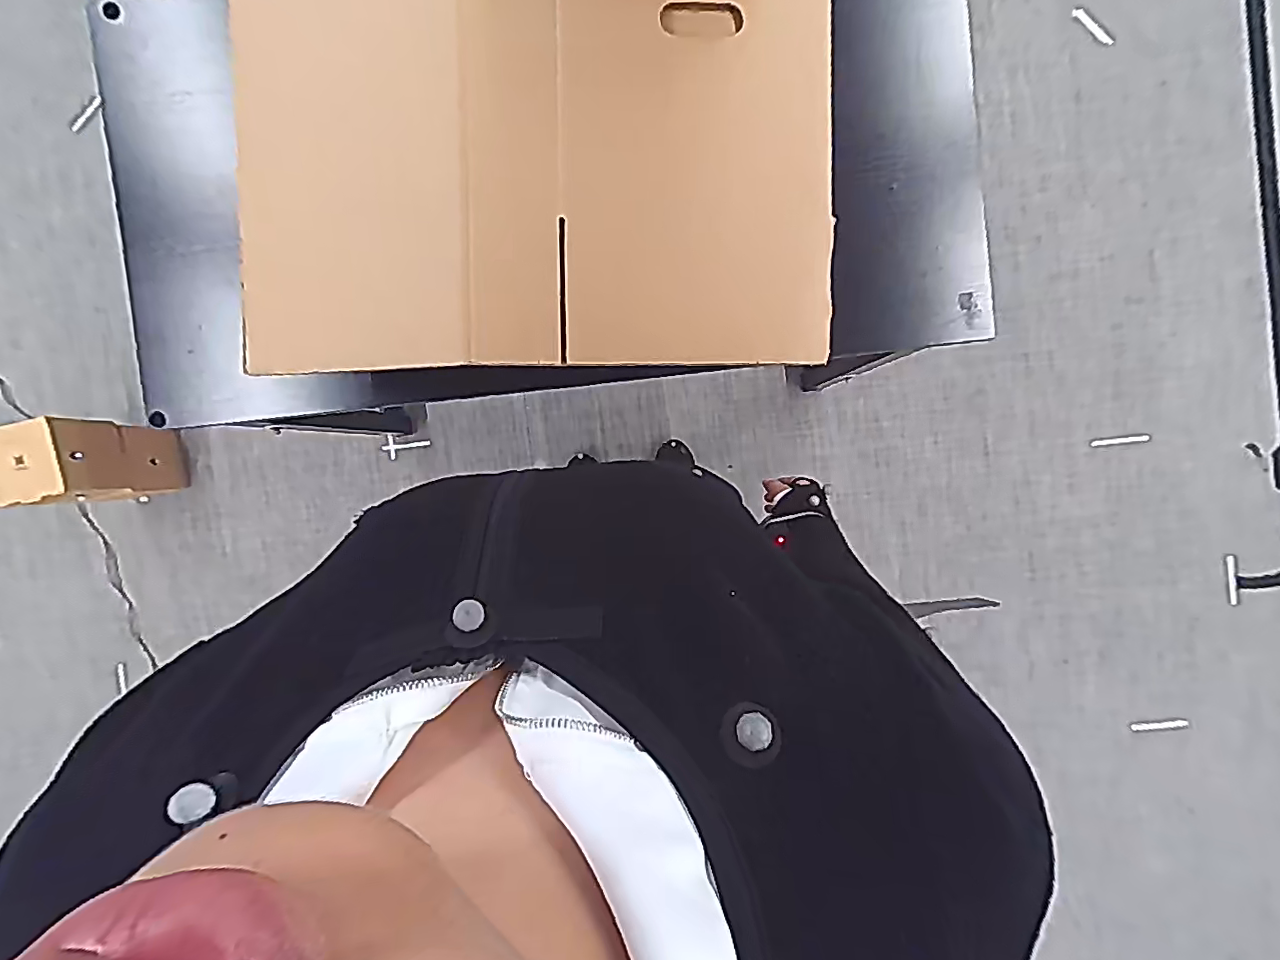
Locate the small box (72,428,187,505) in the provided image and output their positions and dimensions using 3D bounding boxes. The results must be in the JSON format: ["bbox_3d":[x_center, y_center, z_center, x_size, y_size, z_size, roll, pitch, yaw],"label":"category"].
[{"bbox_3d":[-1.364,-0.036,1.436,0.168,0.176,0.179,-10,93,1],"label":"small box"}]

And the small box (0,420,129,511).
[{"bbox_3d":[-1.369,-0.036,1.274,0.168,0.176,0.179,-13,91,1],"label":"small box"}]
